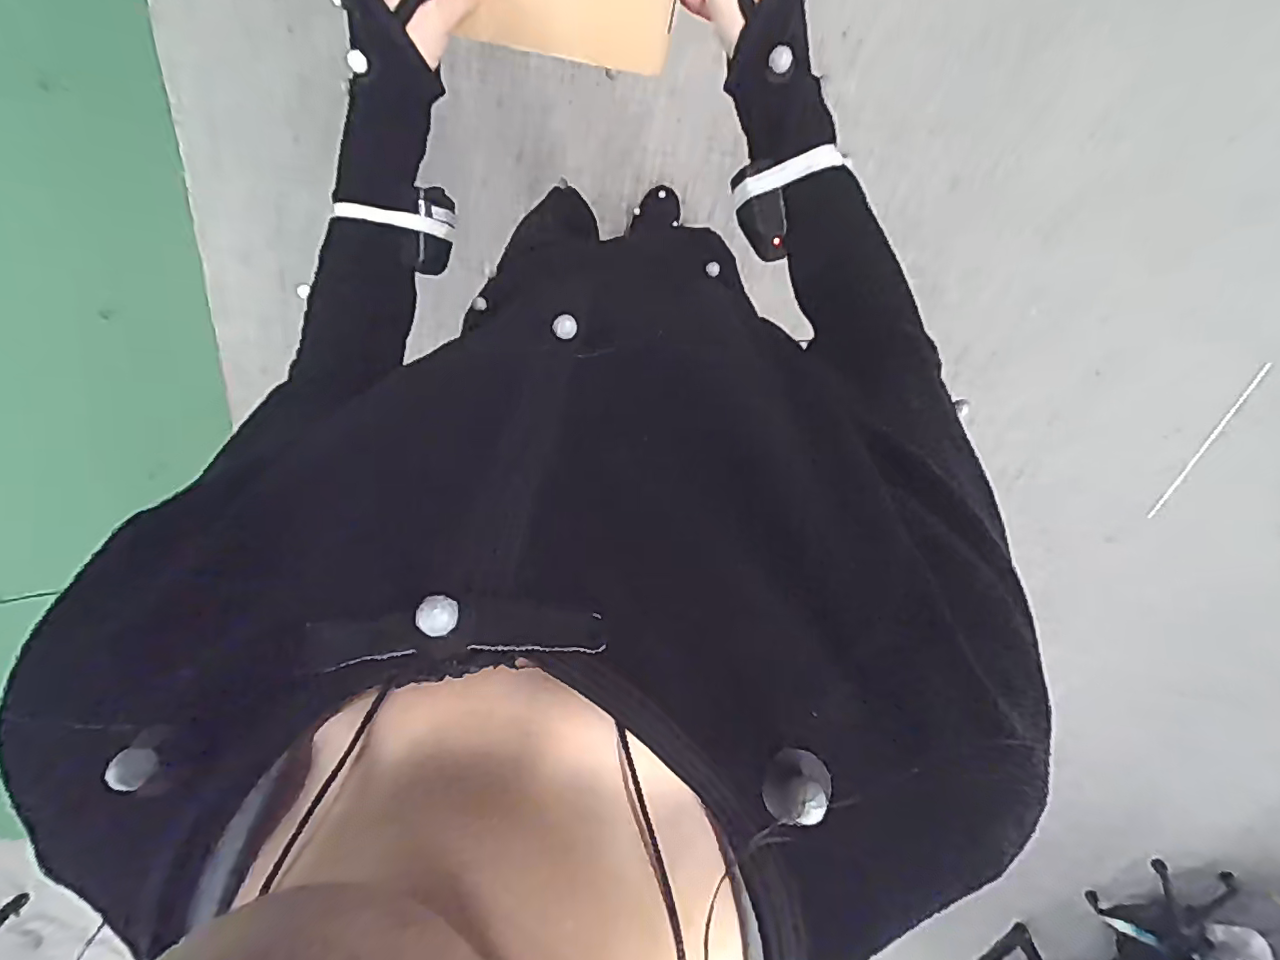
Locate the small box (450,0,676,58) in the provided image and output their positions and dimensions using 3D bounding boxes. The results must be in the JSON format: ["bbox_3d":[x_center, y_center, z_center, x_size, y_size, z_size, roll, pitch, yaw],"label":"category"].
[{"bbox_3d":[-0.054,-0.472,0.425,0.179,0.176,0.168,2,142,-12],"label":"small box"}]
